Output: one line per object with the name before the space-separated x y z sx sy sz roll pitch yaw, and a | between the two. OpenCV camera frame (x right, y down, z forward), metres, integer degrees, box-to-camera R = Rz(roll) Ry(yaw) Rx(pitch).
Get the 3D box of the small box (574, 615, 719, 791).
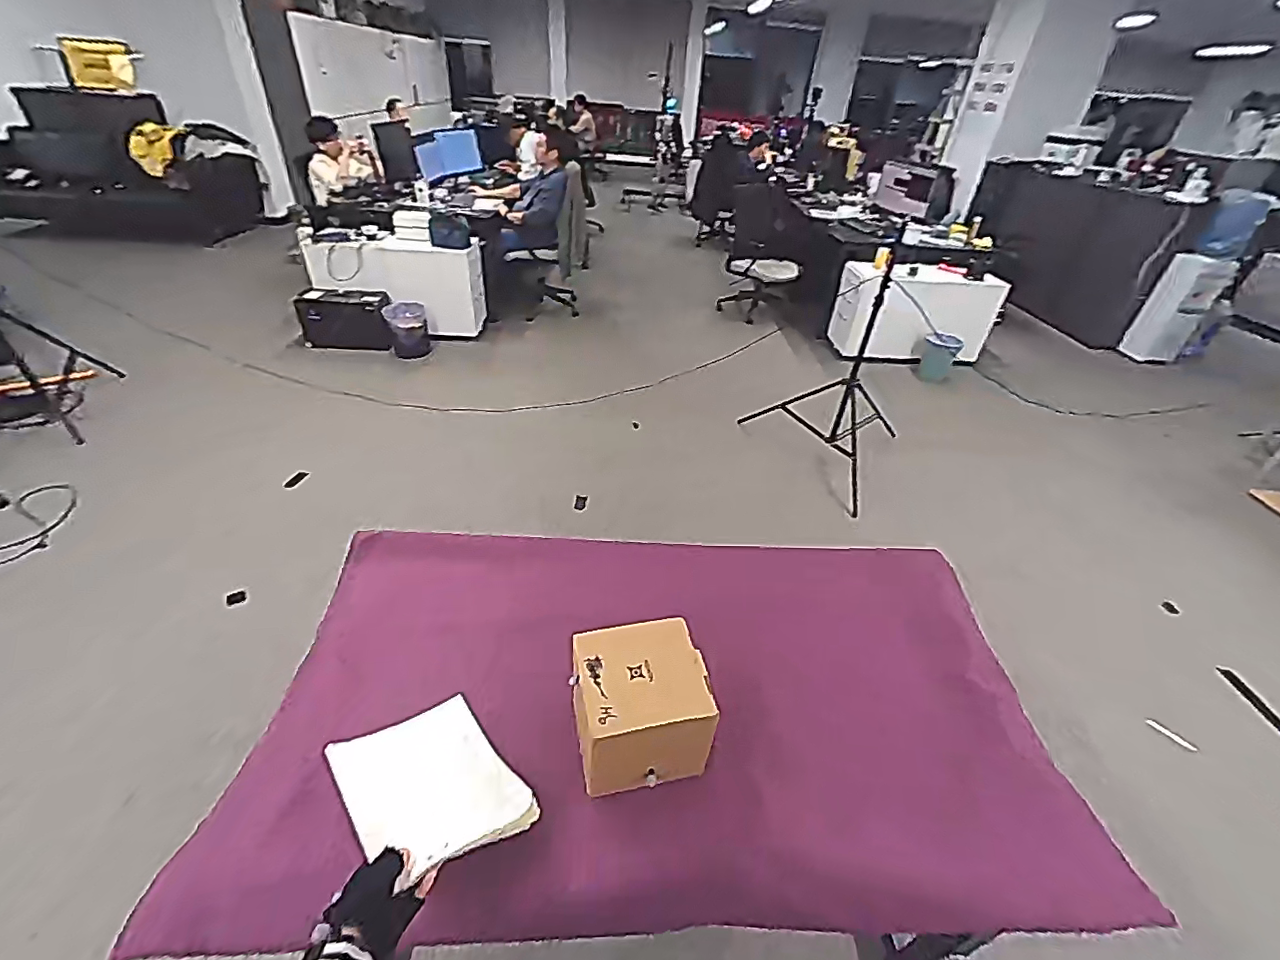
small box | -0.003 0.329 0.805 0.179 0.176 0.168 -5 36 -13
